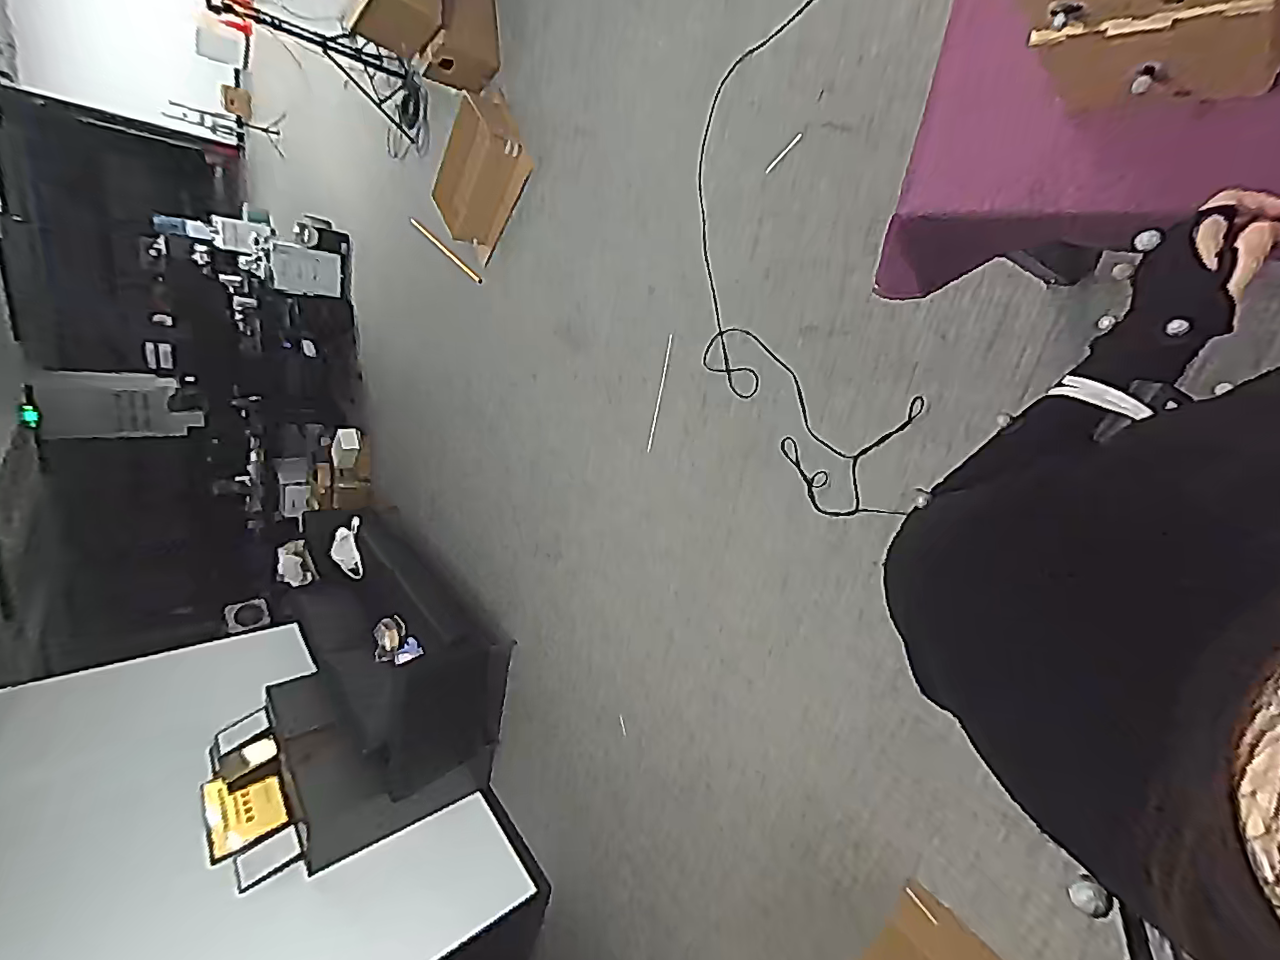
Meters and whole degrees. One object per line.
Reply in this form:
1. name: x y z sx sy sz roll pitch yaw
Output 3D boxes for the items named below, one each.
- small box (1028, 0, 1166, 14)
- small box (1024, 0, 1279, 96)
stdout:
1. small box: 0.374 -0.463 0.370 0.168 0.176 0.179 31 116 41
2. small box: 0.491 -0.471 0.486 0.168 0.176 0.179 30 117 40
